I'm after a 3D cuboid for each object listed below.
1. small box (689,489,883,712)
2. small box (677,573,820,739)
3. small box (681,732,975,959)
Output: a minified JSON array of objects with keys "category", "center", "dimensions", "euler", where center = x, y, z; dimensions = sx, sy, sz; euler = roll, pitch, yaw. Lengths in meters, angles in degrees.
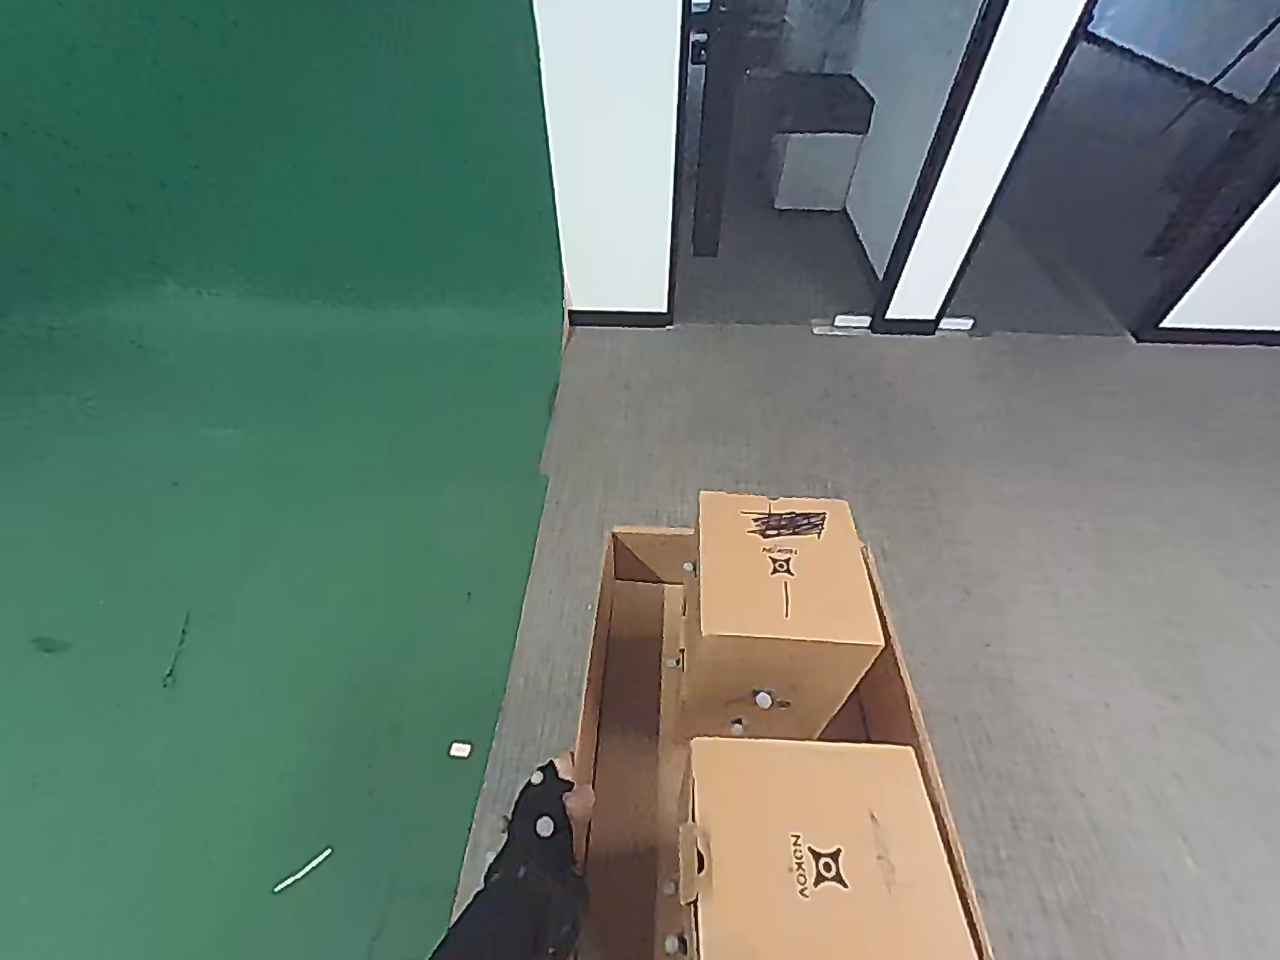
[{"category":"small box","center":[0.142,0.133,0.600],"dimensions":[0.168,0.176,0.179],"euler":[3,48,3]},{"category":"small box","center":[0.141,0.244,0.722],"dimensions":[0.179,0.176,0.168],"euler":[4,47,4]},{"category":"small box","center":[0.122,0.317,0.425],"dimensions":[0.179,0.176,0.168],"euler":[2,45,1]}]
